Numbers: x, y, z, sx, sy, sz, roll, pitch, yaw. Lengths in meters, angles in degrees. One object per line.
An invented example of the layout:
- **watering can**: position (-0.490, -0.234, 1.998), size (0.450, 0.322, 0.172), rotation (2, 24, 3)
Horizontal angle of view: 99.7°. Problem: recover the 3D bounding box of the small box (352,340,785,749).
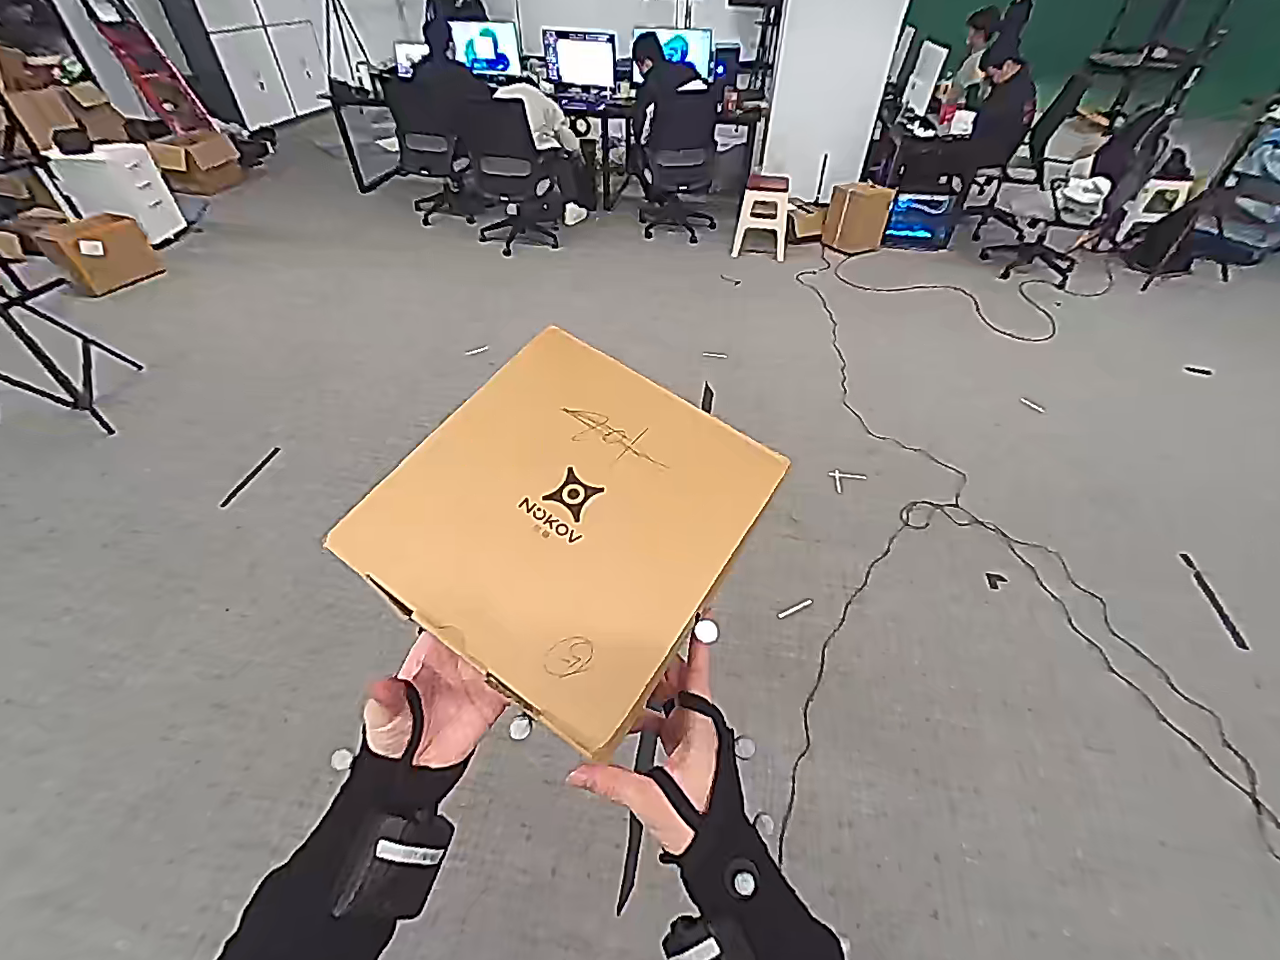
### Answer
- **small box**: position (-0.035, 0.052, 0.355), size (0.168, 0.176, 0.179), rotation (32, 64, 13)
